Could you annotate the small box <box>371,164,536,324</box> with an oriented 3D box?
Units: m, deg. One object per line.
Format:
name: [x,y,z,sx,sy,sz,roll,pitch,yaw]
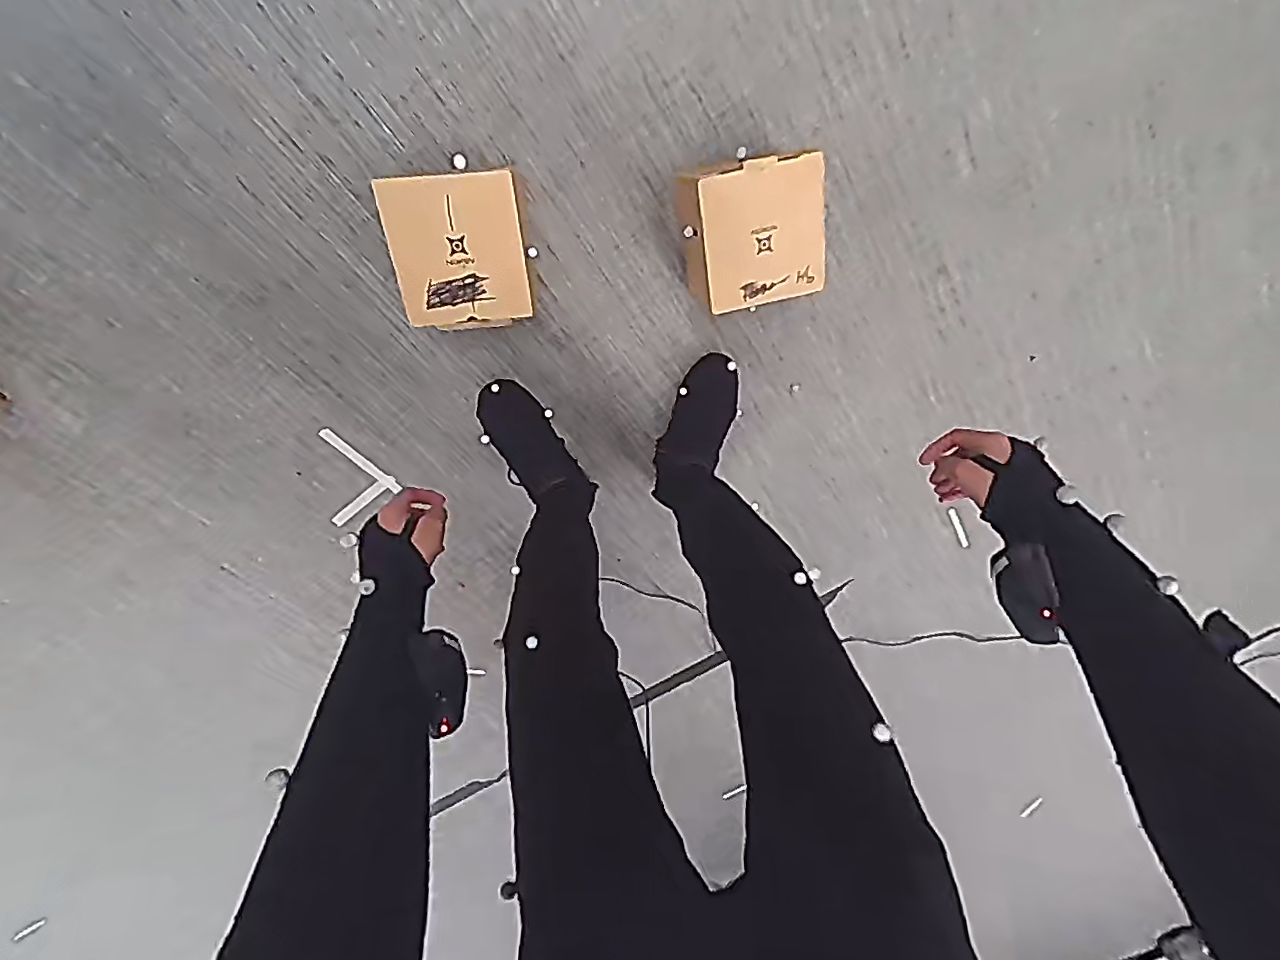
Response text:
small box: [-0.240,-0.331,0.751,0.168,0.176,0.179,-7,121,-4]

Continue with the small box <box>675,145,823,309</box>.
small box: [0.153,-0.367,0.785,0.168,0.176,0.179,-12,121,0]
